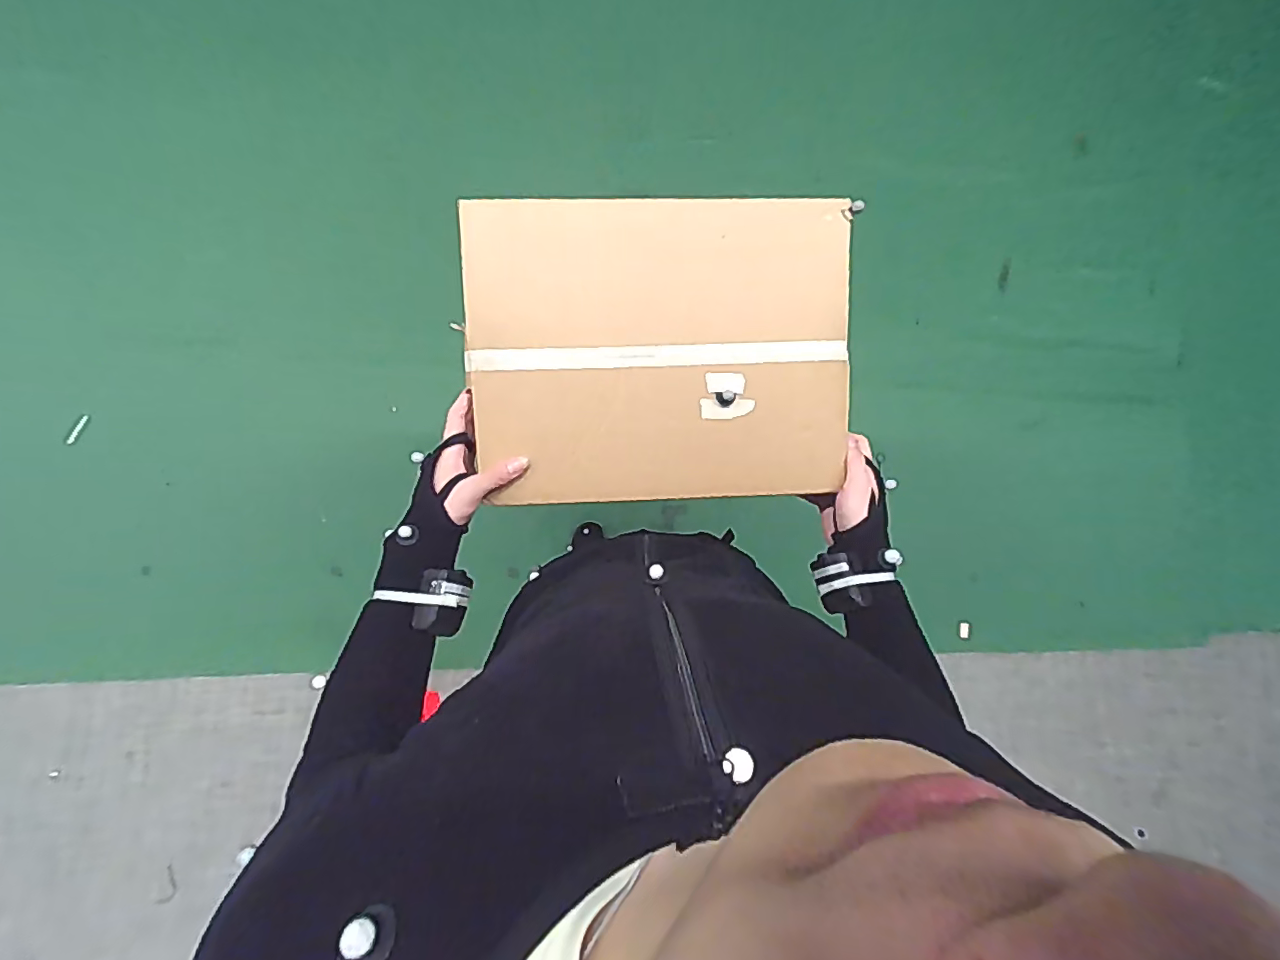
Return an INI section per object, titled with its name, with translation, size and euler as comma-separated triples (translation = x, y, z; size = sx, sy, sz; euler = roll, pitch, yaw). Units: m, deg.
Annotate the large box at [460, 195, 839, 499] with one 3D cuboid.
[large box]
translation = 0.006, -0.161, 0.729
size = 0.408, 0.320, 0.320
euler = -3, 99, -5
